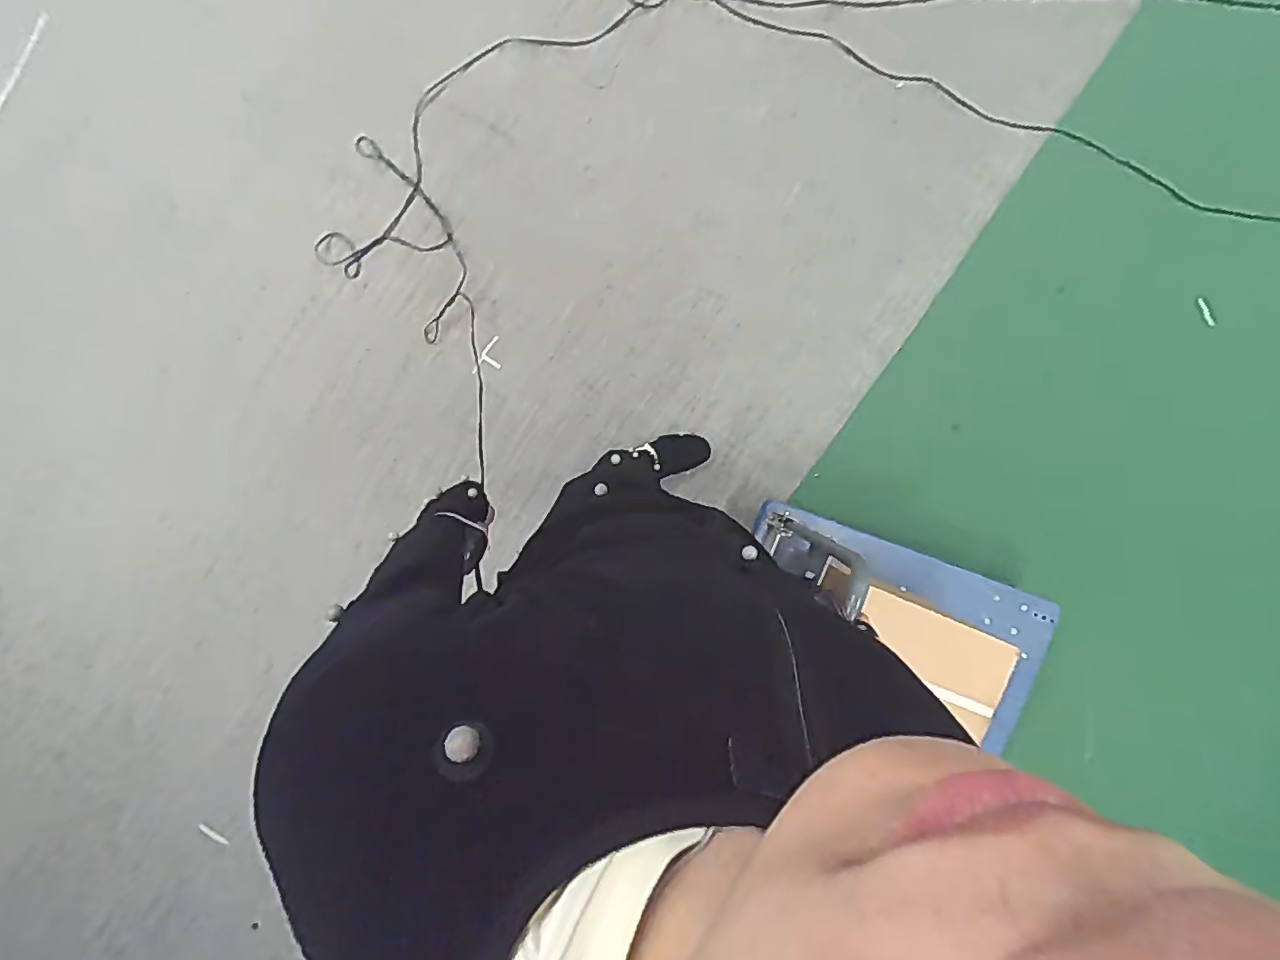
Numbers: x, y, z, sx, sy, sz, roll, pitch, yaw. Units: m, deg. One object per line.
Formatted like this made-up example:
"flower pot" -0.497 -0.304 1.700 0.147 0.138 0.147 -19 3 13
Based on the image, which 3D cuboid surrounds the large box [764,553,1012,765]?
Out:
"large box" 0.576 0.414 1.333 0.408 0.320 0.320 23 93 -3
